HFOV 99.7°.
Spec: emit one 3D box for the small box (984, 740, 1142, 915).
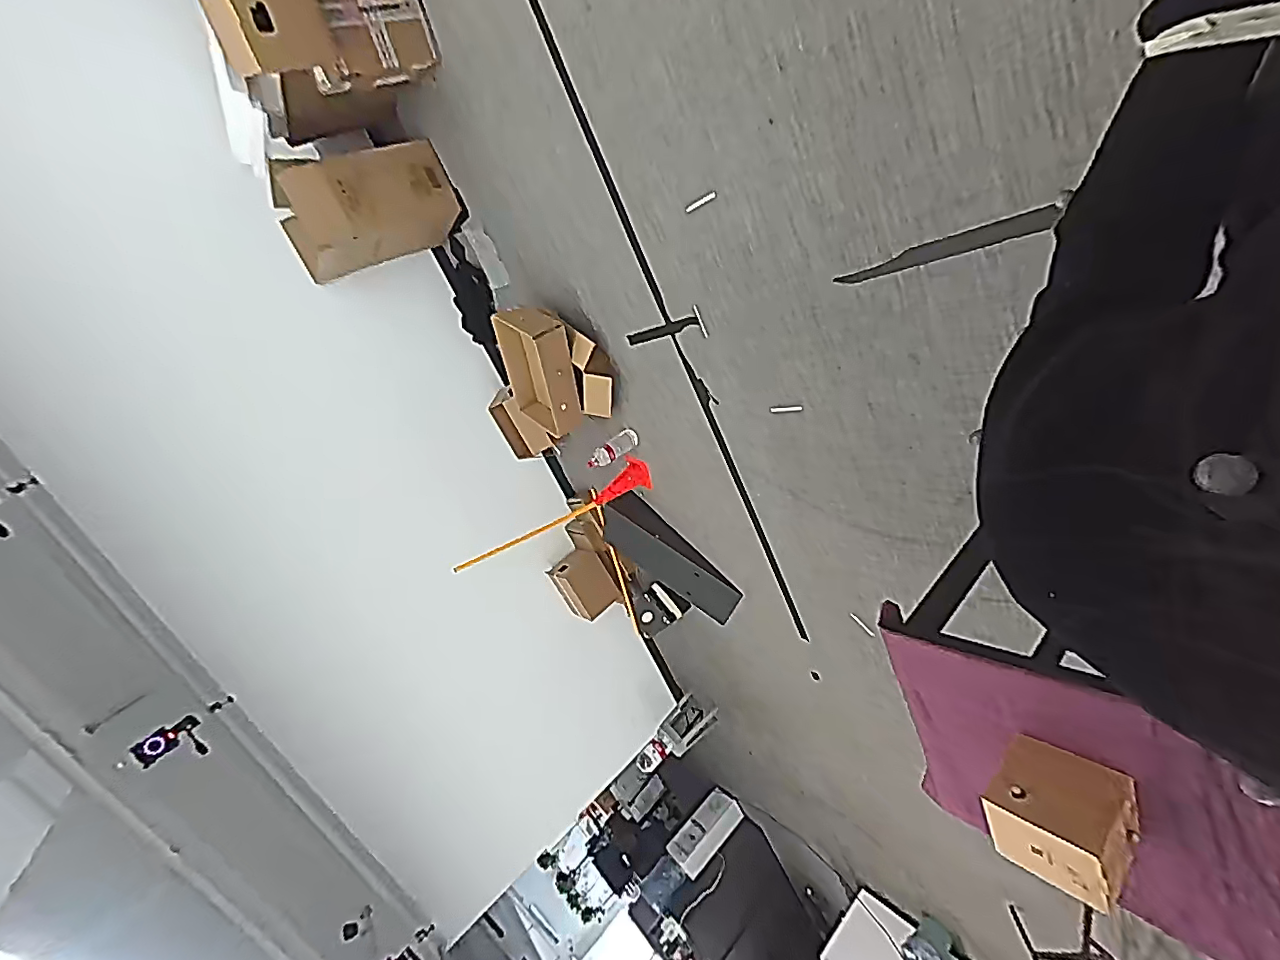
[{"bbox_3d":[0.763,0.608,0.976,0.179,0.176,0.168,6,128,55],"label":"small box"}]
